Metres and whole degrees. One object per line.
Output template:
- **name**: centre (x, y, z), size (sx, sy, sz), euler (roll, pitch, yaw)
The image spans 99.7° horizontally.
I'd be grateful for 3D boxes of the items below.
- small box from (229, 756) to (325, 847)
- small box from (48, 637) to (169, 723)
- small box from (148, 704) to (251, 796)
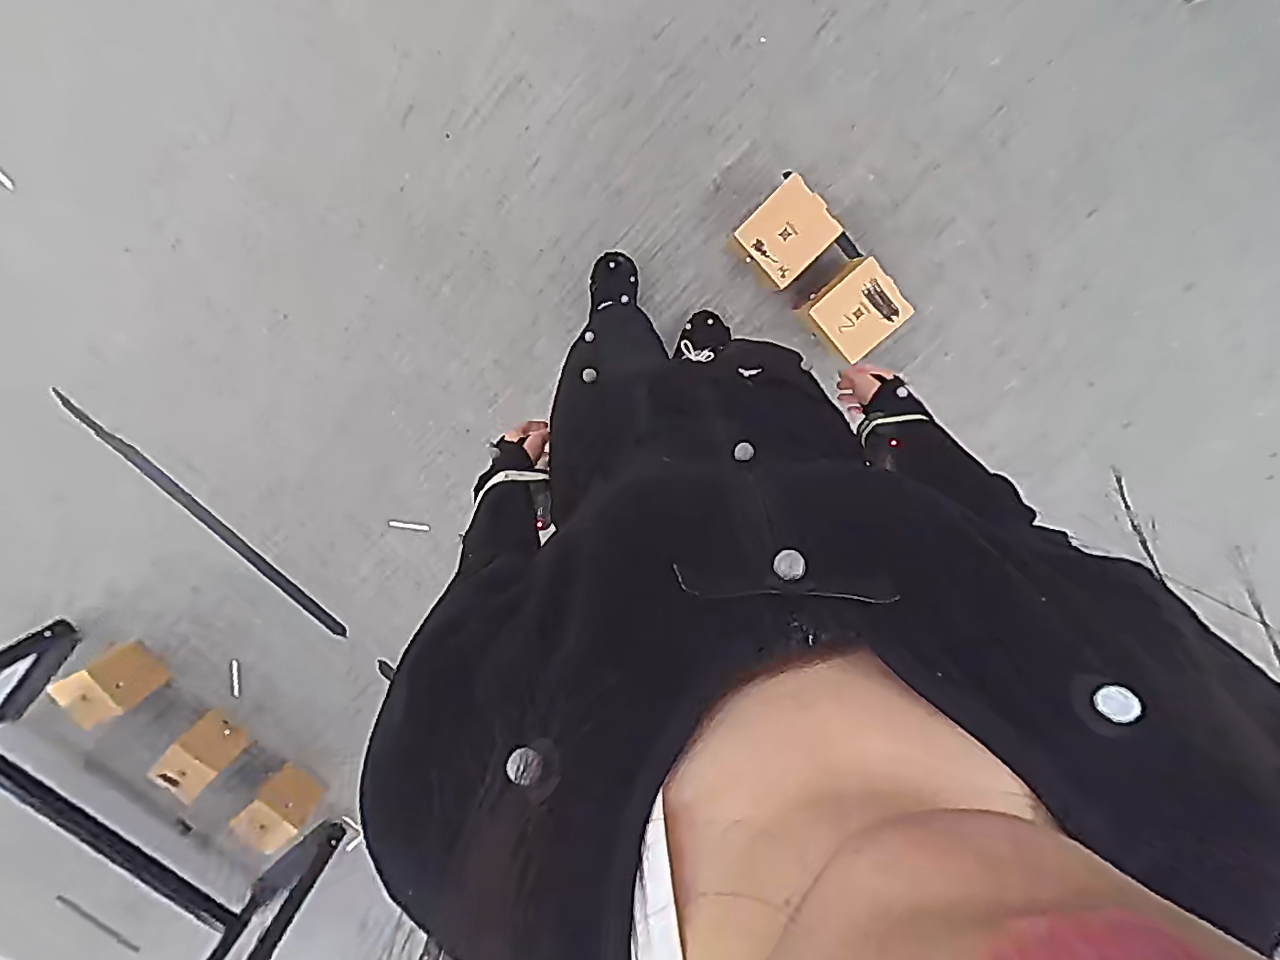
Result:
- **small box**: centre (-1.230, 1.093, 1.849), size (0.168, 0.176, 0.179), euler (-40, 101, 12)
- **small box**: centre (-1.679, 0.625, 1.718), size (0.168, 0.176, 0.179), euler (-24, 107, 9)
- **small box**: centre (-1.449, 0.888, 1.791), size (0.179, 0.176, 0.168), euler (-42, 102, 13)
